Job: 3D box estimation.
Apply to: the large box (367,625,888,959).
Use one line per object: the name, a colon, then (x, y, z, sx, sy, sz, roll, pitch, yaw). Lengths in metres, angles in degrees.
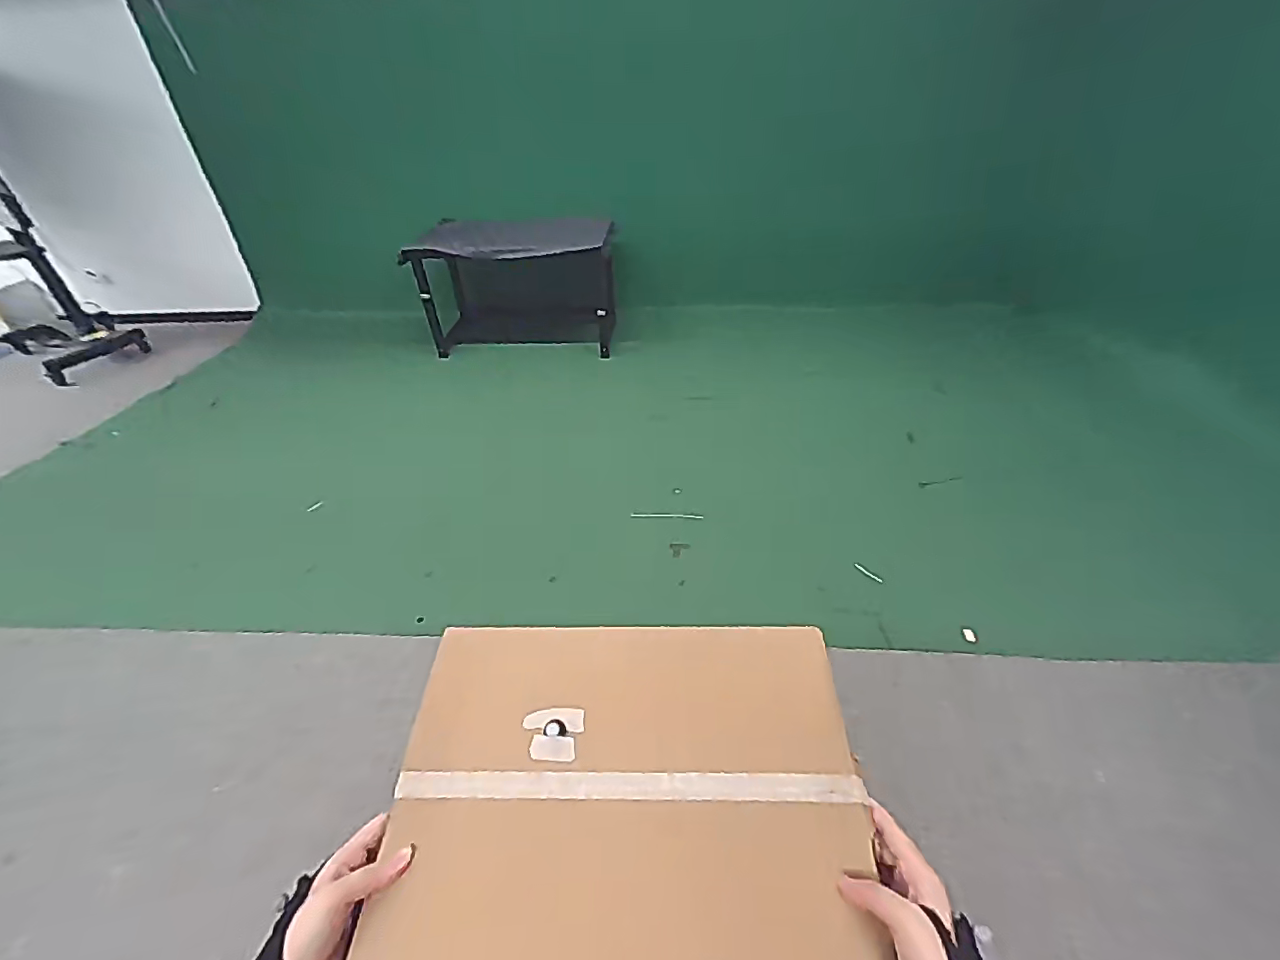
large box: (0.000, 0.380, 0.595, 0.408, 0.320, 0.320, -3, 45, 4)
